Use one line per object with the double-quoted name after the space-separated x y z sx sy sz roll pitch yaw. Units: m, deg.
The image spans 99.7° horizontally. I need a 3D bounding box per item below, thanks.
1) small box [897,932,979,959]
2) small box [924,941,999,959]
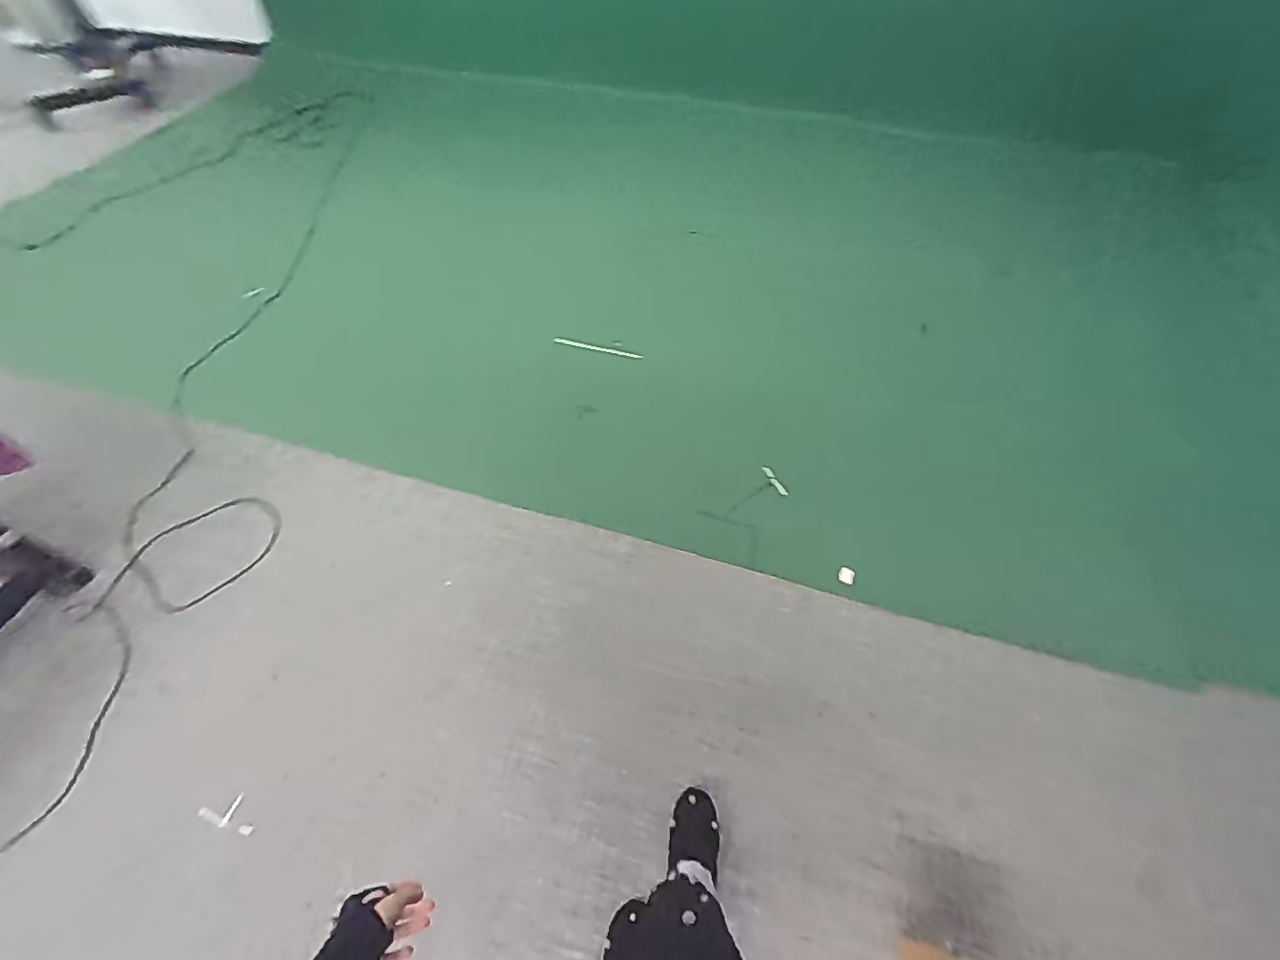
0.595 0.984 1.010 0.168 0.176 0.179 11 55 9 "small box"
0.580 0.889 0.877 0.168 0.176 0.179 12 55 9 "small box"
